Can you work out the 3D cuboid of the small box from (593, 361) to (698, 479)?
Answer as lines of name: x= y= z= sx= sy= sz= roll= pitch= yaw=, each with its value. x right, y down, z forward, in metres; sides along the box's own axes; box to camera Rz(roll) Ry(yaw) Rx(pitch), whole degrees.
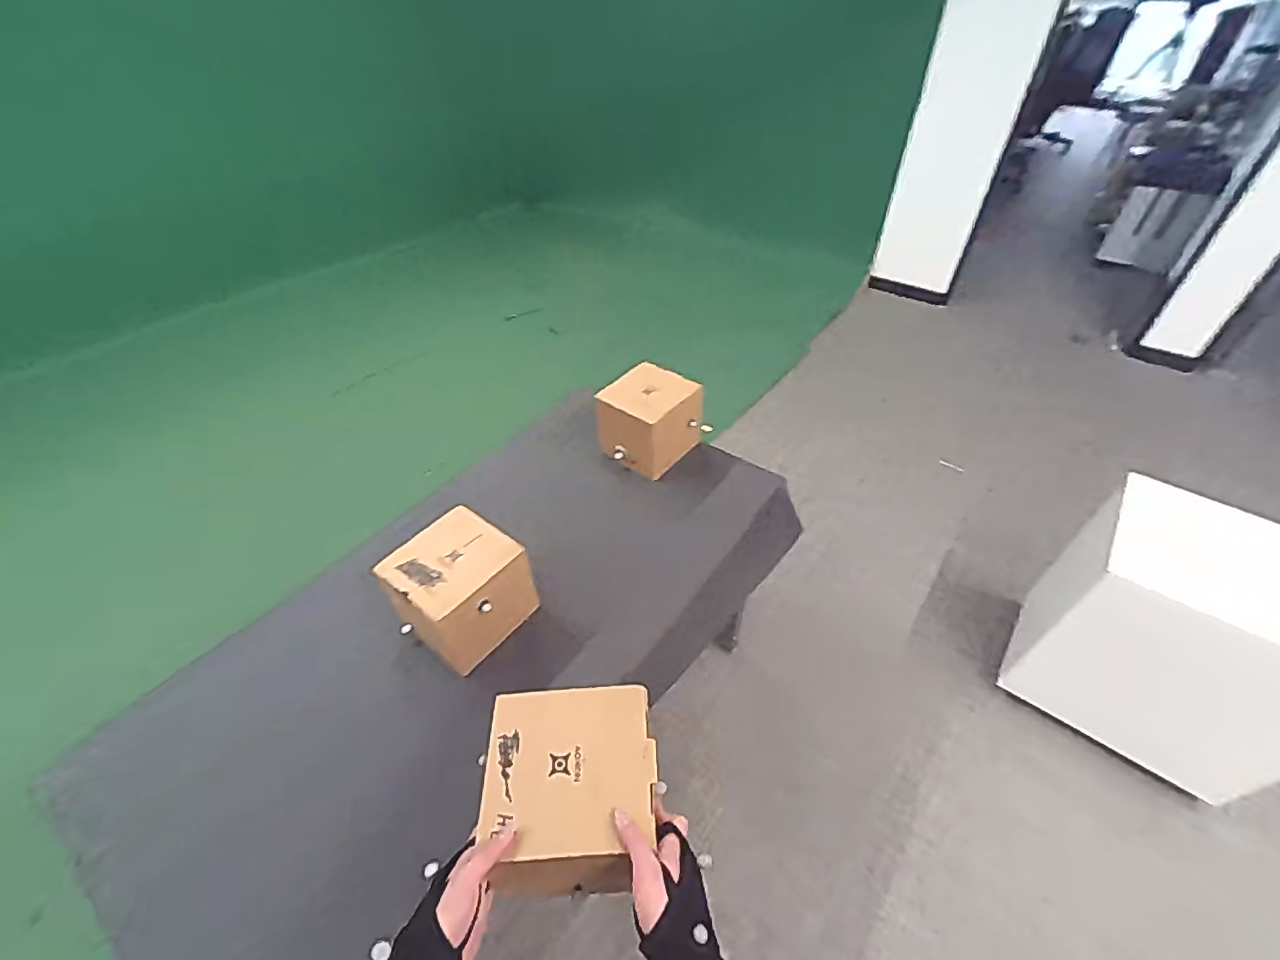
small box: x=0.013 y=-0.137 z=1.227 sx=0.168 sy=0.176 sz=0.179 roll=29 pitch=53 yaw=28

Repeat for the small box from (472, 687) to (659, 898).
small box: x=-0.073 y=0.354 z=0.615 sx=0.179 sy=0.176 sz=0.168 roll=-2 pitch=41 yaw=-1

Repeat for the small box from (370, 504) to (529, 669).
small box: x=-0.308 y=0.181 z=0.910 sx=0.168 sy=0.176 sz=0.179 roll=29 pitch=50 yaw=26
